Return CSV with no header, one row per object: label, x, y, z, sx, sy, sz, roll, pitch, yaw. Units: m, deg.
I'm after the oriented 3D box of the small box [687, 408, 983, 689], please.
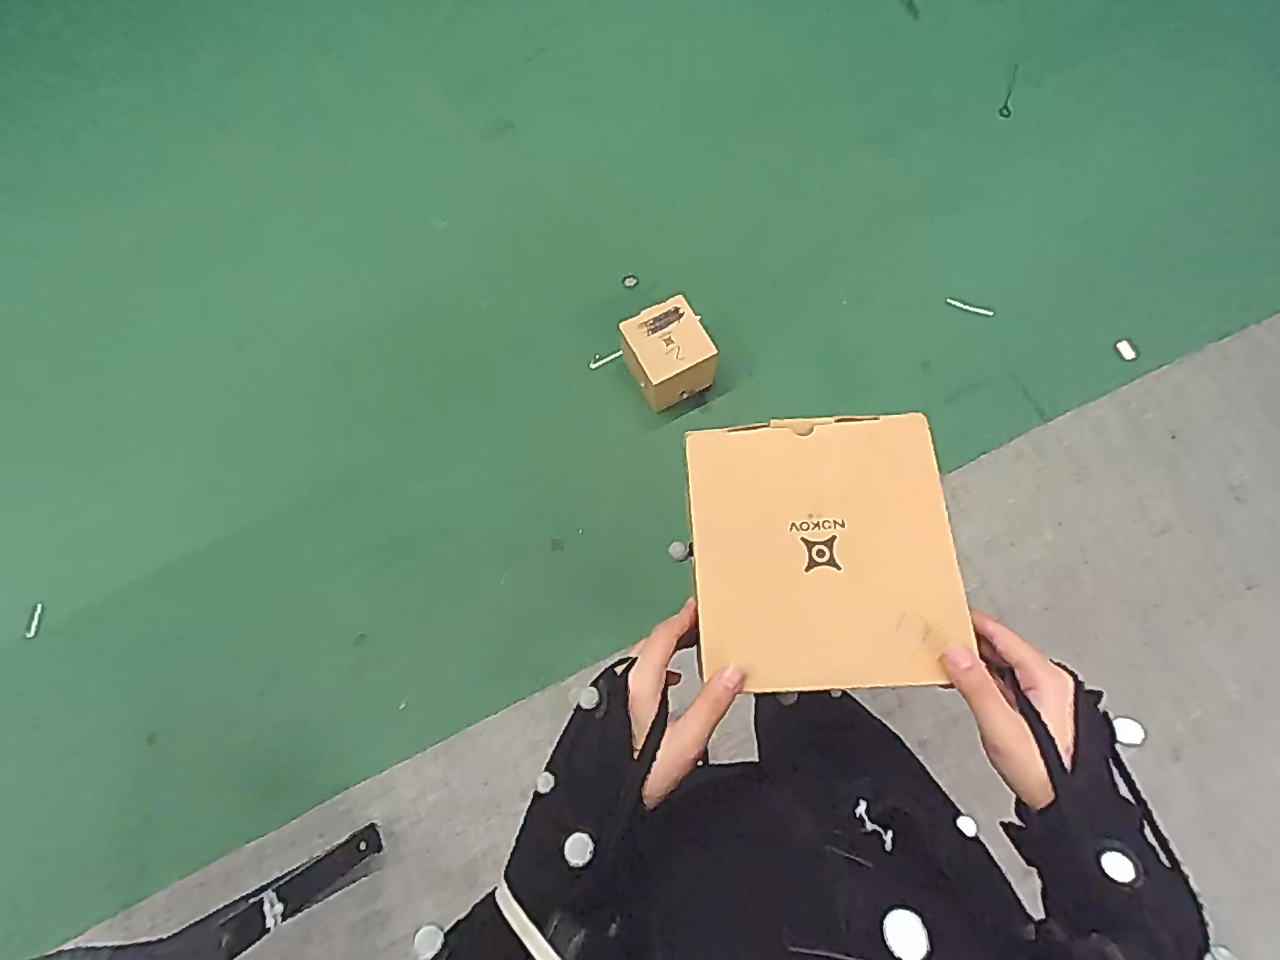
small box,0.126,0.061,0.424,0.168,0.176,0.179,-4,73,4
